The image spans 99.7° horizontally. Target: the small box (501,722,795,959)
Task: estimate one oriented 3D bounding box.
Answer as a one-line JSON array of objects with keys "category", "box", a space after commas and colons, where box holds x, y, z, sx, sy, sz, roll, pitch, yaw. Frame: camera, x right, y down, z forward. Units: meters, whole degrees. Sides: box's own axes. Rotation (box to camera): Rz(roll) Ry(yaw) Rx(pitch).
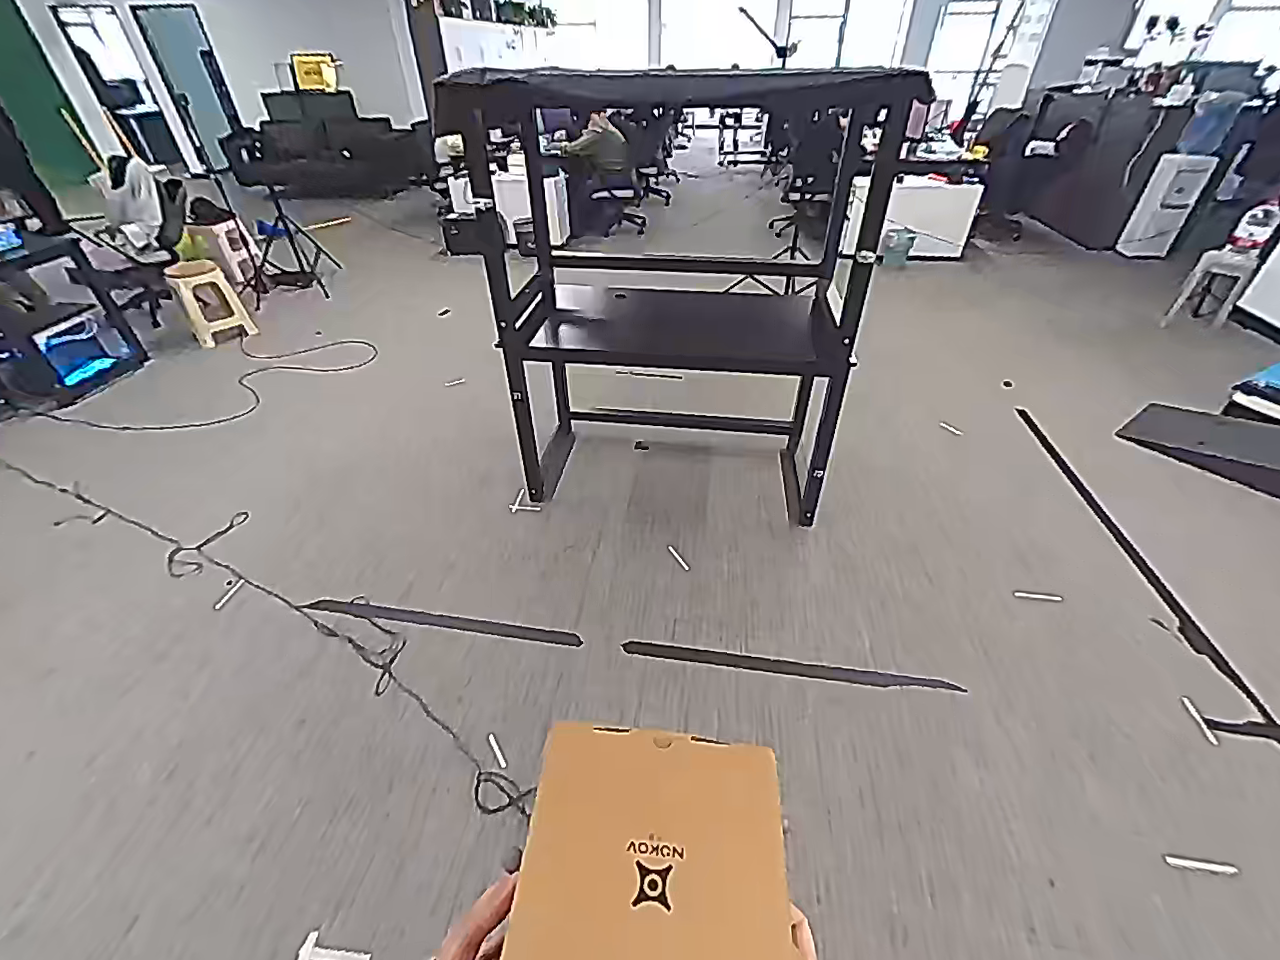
[{"category": "small box", "box": [0.005, 0.303, 0.380, 0.168, 0.176, 0.179, 6, 39, 1]}]
